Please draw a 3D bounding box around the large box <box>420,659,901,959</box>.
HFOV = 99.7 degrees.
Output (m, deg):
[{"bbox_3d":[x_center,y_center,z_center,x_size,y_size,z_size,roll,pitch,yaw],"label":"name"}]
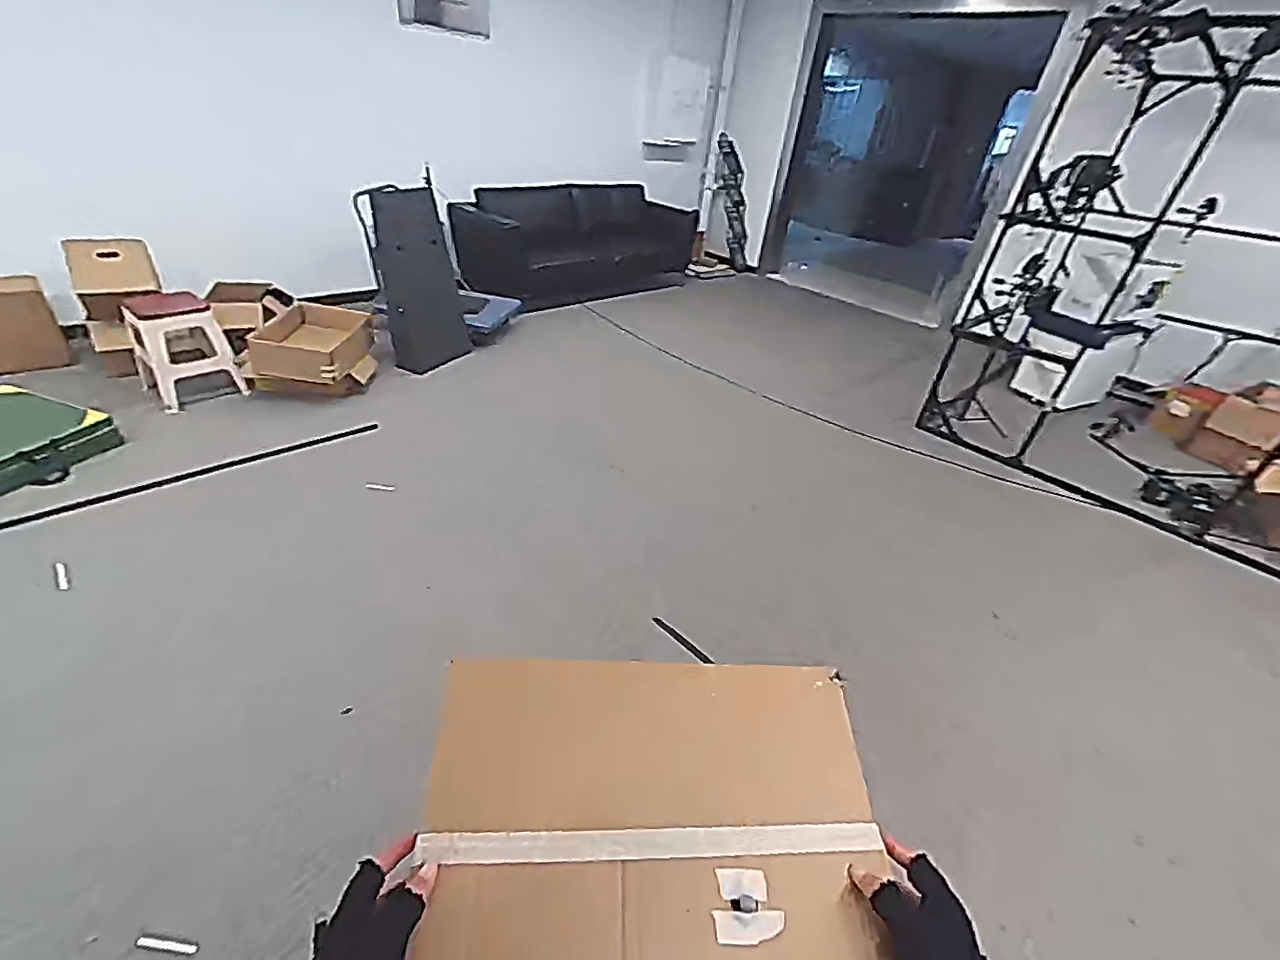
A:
[{"bbox_3d":[-0.001,0.410,0.605,0.408,0.320,0.320,4,52,-8],"label":"large box"}]
